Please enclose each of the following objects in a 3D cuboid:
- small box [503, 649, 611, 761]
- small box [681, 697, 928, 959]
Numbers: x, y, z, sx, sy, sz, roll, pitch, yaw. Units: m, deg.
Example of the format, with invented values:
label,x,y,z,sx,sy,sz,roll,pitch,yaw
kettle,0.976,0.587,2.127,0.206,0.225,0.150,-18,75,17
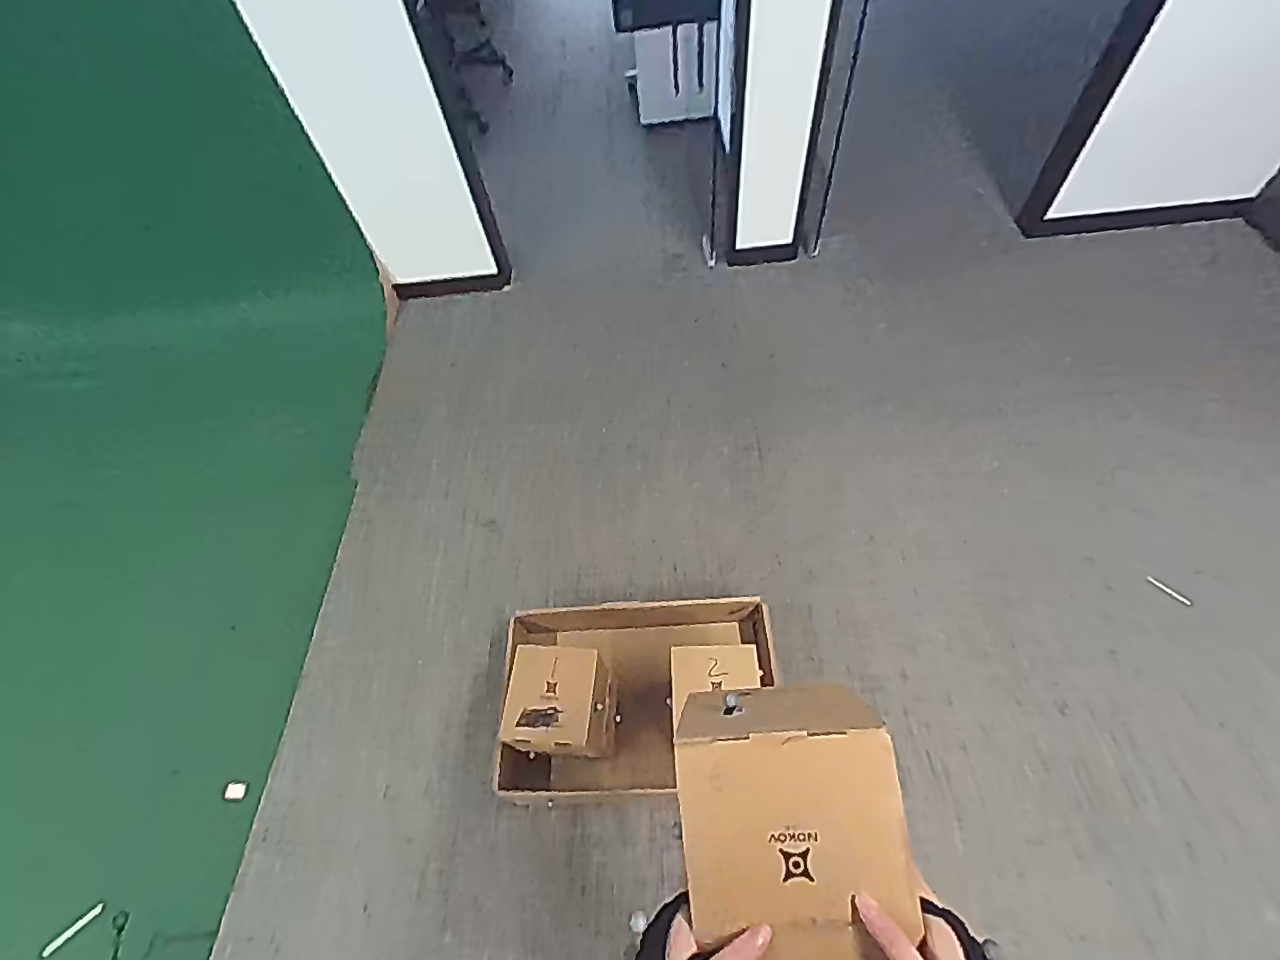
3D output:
label,x,y,z,sx,sy,sz,roll,pitch,yaw
small box,-0.156,0.455,1.086,0.168,0.176,0.179,2,56,6
small box,0.131,0.300,0.482,0.168,0.176,0.179,-7,79,9
